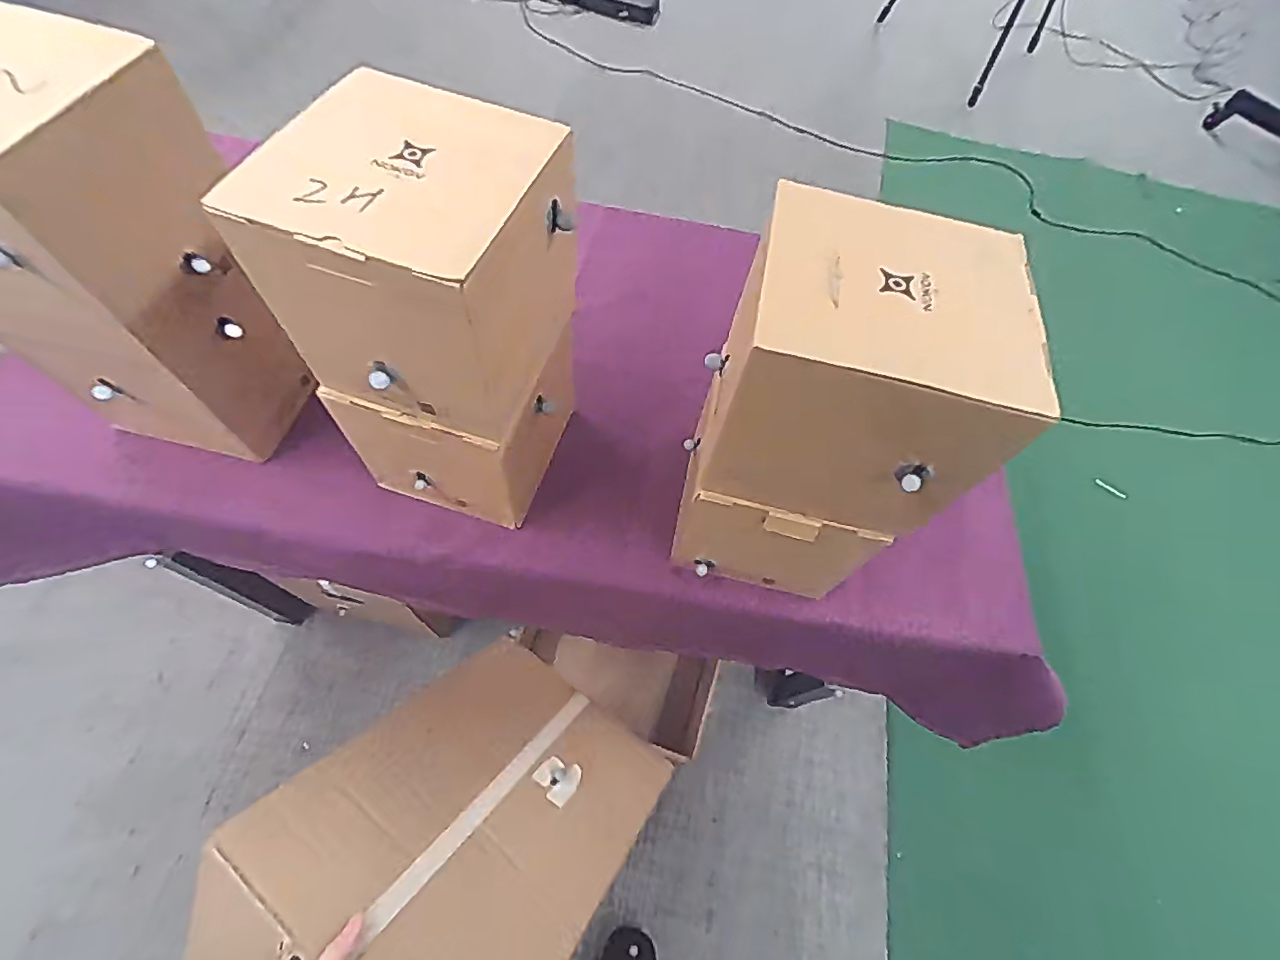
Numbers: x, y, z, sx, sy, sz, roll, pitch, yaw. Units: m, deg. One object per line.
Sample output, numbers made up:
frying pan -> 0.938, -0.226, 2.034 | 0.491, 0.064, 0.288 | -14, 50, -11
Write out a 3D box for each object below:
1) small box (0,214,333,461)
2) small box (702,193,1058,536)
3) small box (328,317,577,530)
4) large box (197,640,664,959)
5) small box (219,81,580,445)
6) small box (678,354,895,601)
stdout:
small box -> -0.464, -0.138, 0.564 | 0.179, 0.176, 0.168 | 13, 62, 2
small box -> 0.158, -0.074, 0.407 | 0.179, 0.176, 0.168 | 14, 60, 2
small box -> -0.172, -0.075, 0.562 | 0.168, 0.176, 0.179 | 17, 62, 4
large box -> -0.227, 0.483, 0.661 | 0.320, 0.320, 0.408 | 32, 22, 15
small box -> -0.154, -0.158, 0.421 | 0.168, 0.176, 0.179 | 18, 62, 5
small box -> 0.138, 0.006, 0.549 | 0.168, 0.176, 0.179 | 13, 60, 2
